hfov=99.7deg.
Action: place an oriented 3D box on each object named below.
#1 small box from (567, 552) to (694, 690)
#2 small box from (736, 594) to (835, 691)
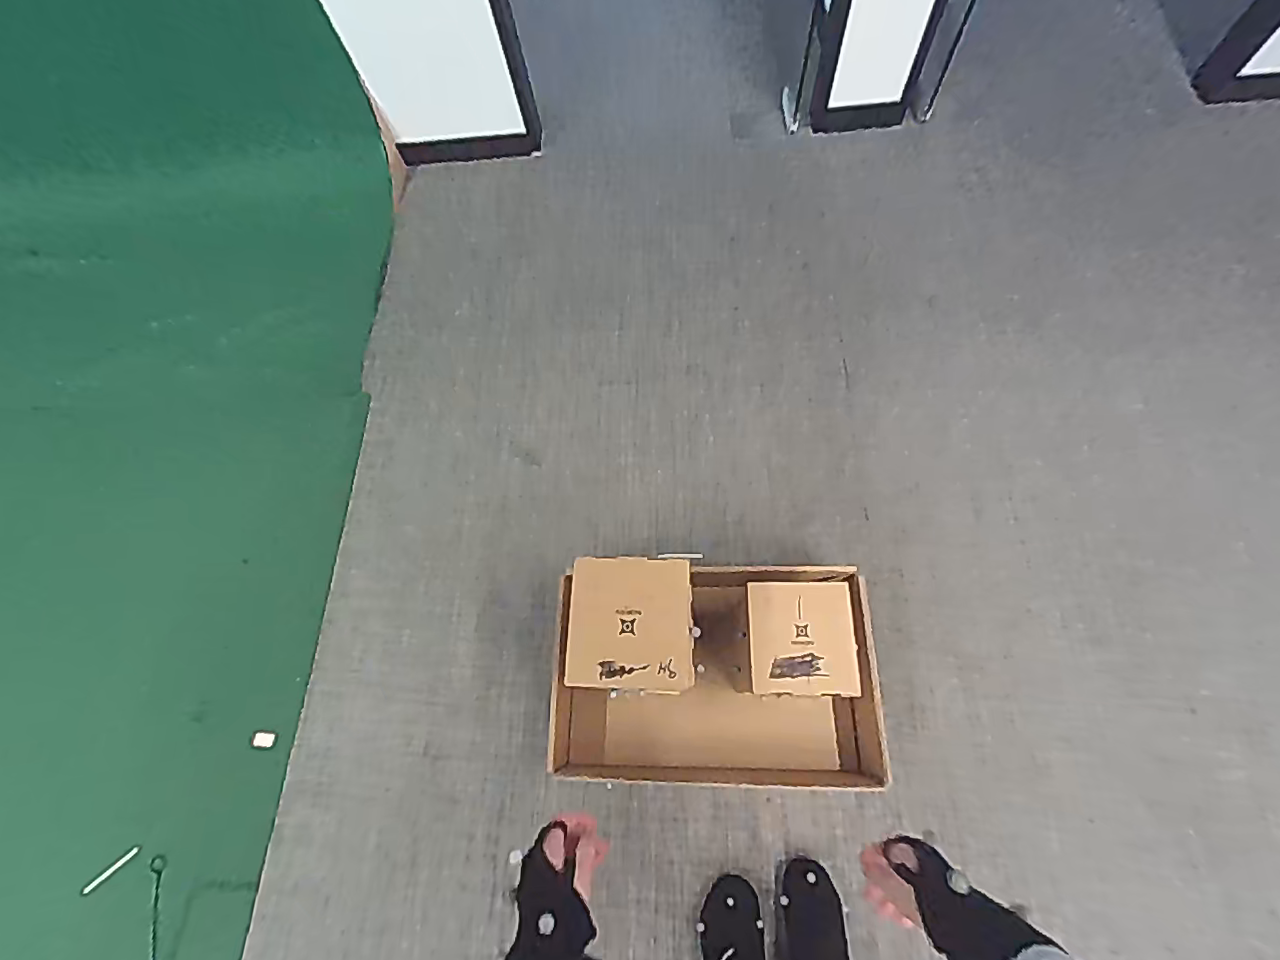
[{"bbox_3d":[-0.005,0.215,0.808,0.168,0.176,0.179,0,69,6],"label":"small box"},{"bbox_3d":[0.283,0.328,1.089,0.168,0.176,0.179,-2,70,5],"label":"small box"}]
